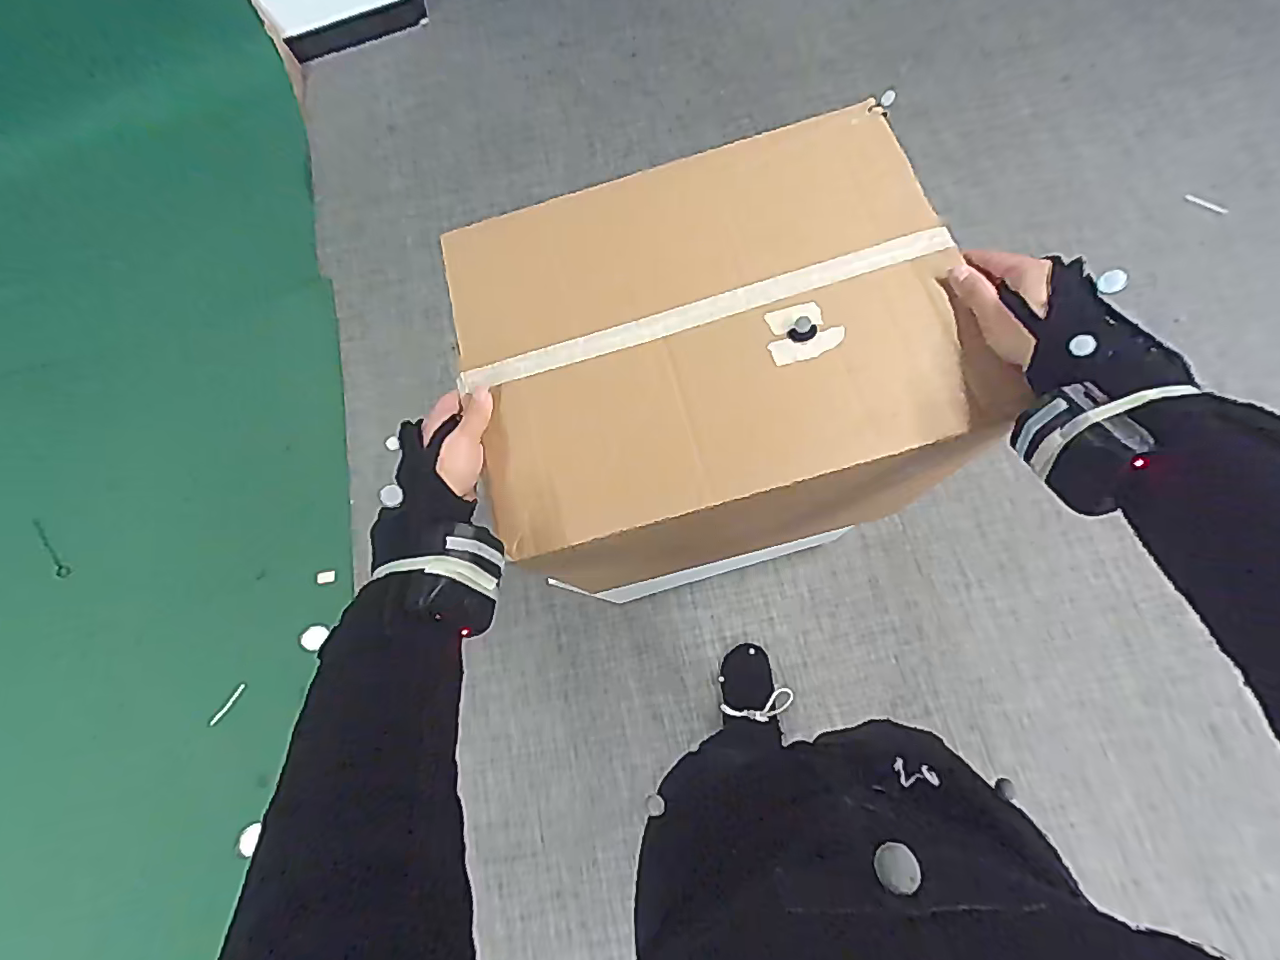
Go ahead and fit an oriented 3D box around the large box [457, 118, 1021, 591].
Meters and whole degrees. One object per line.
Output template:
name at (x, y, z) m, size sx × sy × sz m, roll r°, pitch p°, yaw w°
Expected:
large box at (0.072, -0.092, 0.592) m, size 0.408 × 0.320 × 0.320 m, roll -16°, pitch 73°, yaw 2°
